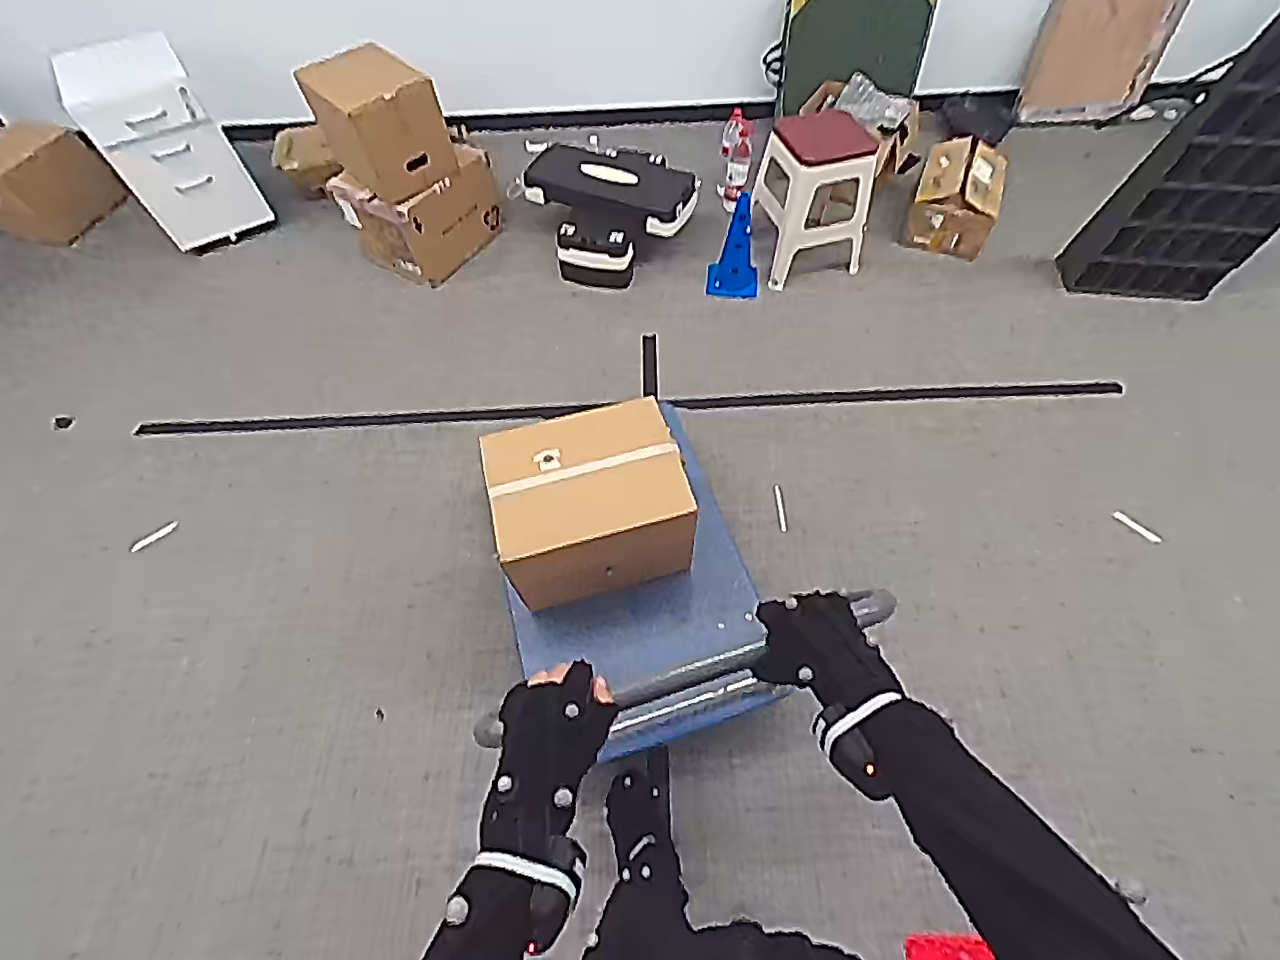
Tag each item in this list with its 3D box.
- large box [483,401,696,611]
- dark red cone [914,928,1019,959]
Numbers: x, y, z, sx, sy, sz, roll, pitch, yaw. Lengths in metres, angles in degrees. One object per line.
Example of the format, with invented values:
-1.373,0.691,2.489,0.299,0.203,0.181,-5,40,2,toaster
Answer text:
-0.110,0.070,1.270,0.408,0.320,0.320,-15,59,-6,large box
0.635,0.889,0.880,0.201,0.394,0.202,-1,59,-1,dark red cone
